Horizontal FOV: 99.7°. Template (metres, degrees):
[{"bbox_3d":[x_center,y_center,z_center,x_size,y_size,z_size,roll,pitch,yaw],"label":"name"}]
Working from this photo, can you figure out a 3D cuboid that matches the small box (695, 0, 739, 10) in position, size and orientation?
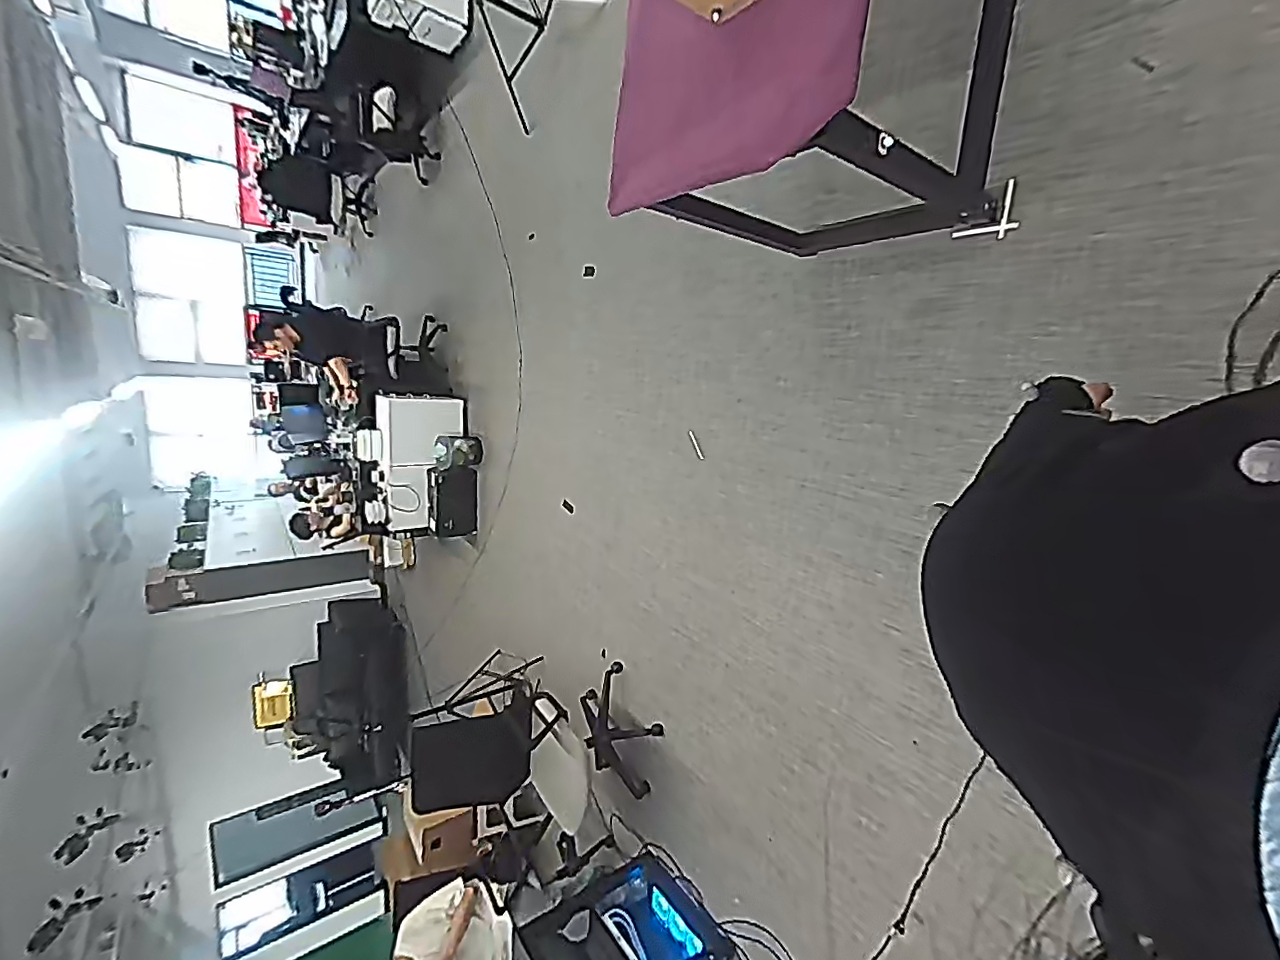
[{"bbox_3d":[0.145,-0.976,0.944,0.168,0.176,0.179,19,108,51],"label":"small box"}]
